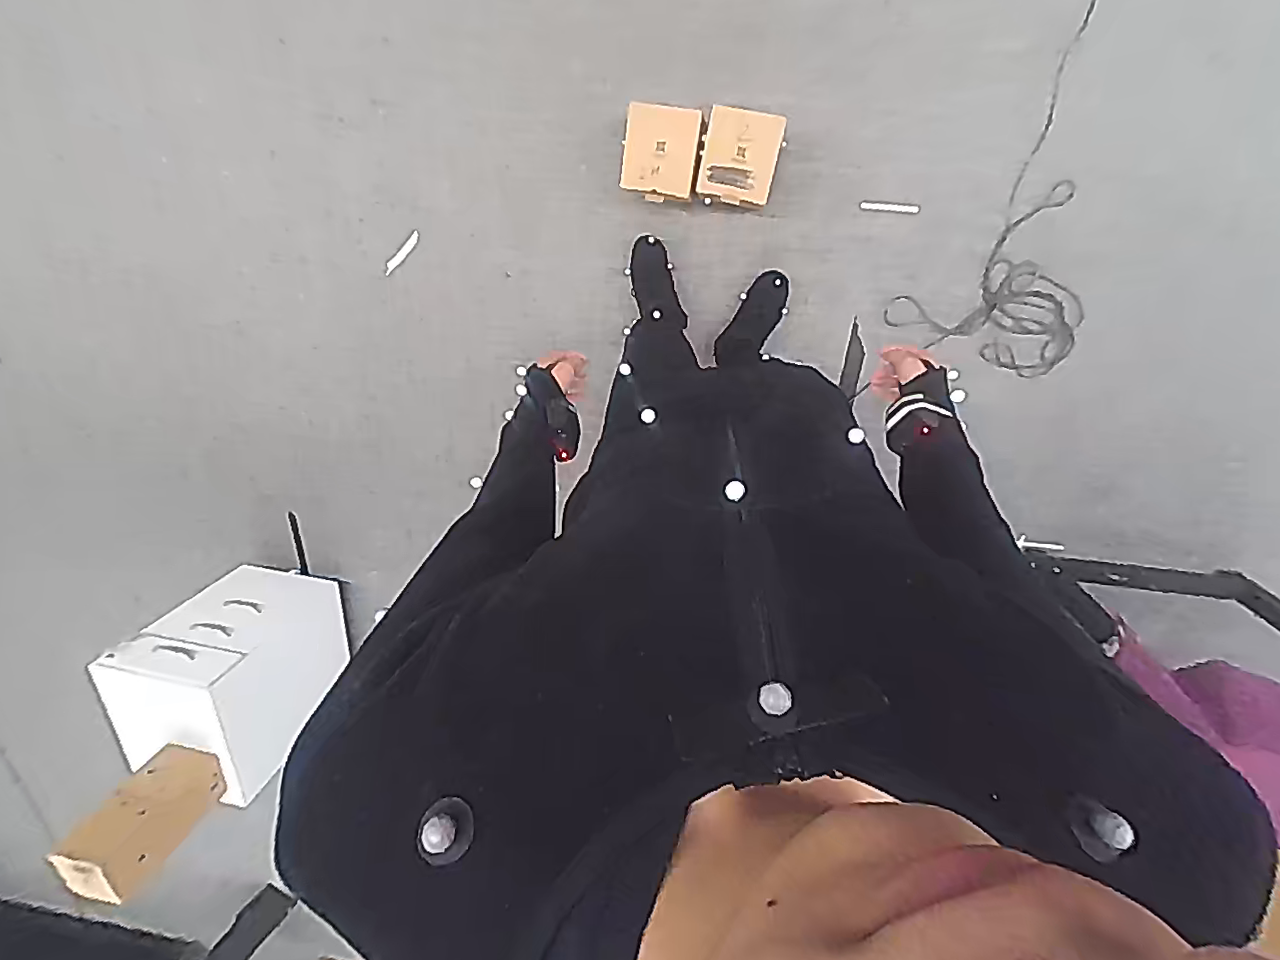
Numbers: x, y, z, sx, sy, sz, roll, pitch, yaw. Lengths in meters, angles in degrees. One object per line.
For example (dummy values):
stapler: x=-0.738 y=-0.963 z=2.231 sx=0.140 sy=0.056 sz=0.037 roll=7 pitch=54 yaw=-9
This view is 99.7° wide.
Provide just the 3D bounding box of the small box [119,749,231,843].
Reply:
small box: x=-1.384 y=0.942 z=1.619 sx=0.179 sy=0.176 sz=0.168 roll=10 pitch=115 yaw=6

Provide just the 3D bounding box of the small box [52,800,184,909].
small box: x=-1.410 y=1.013 z=1.473 sx=0.168 sy=0.176 sz=0.179 roll=6 pitch=116 yaw=8
